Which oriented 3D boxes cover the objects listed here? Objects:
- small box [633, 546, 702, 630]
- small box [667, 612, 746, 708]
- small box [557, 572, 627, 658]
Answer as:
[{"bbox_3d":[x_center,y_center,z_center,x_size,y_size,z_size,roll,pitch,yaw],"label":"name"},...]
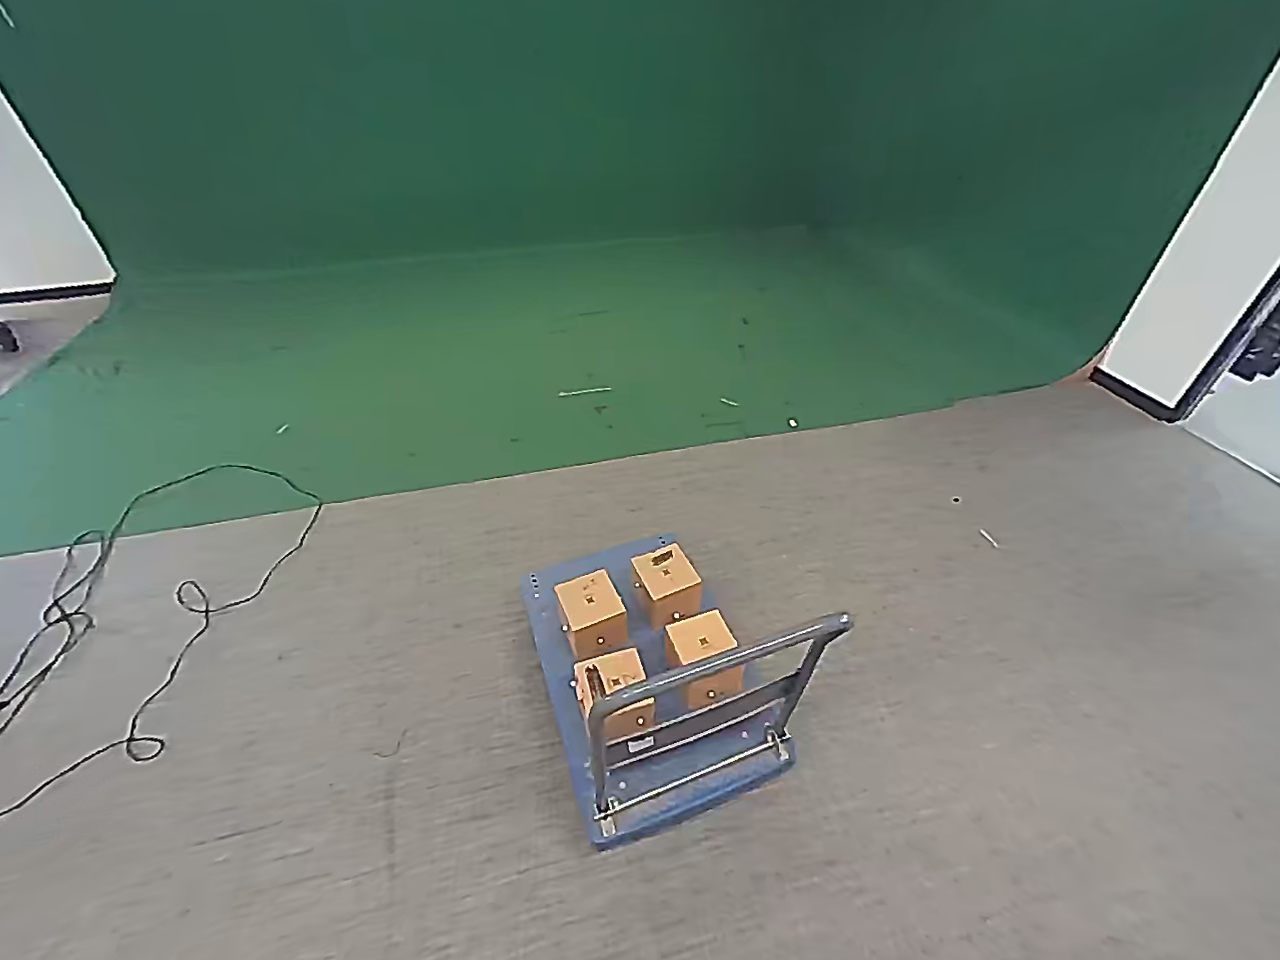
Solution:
[{"bbox_3d":[0.084,0.349,1.740,0.168,0.176,0.179,-18,45,-17],"label":"small box"},{"bbox_3d":[0.181,0.515,1.550,0.168,0.176,0.179,-14,43,-15],"label":"small box"},{"bbox_3d":[-0.144,0.421,1.663,0.168,0.176,0.179,-17,43,-18],"label":"small box"}]
